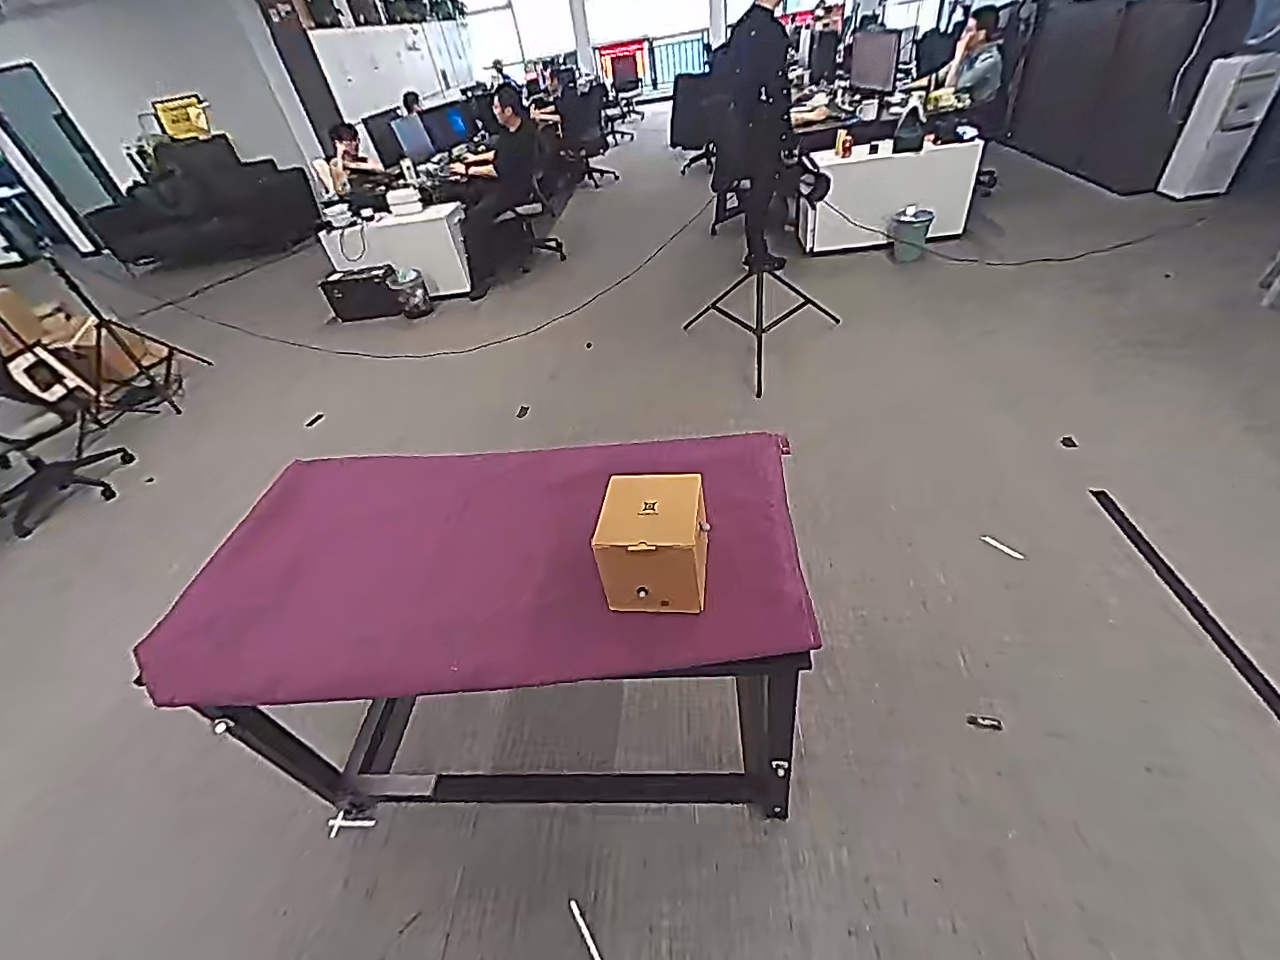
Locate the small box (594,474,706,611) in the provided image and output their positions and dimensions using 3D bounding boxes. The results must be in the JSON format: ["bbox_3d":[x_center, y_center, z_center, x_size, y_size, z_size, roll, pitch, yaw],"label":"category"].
[{"bbox_3d":[0.027,0.108,0.957,0.168,0.176,0.179,-2,40,11],"label":"small box"}]
